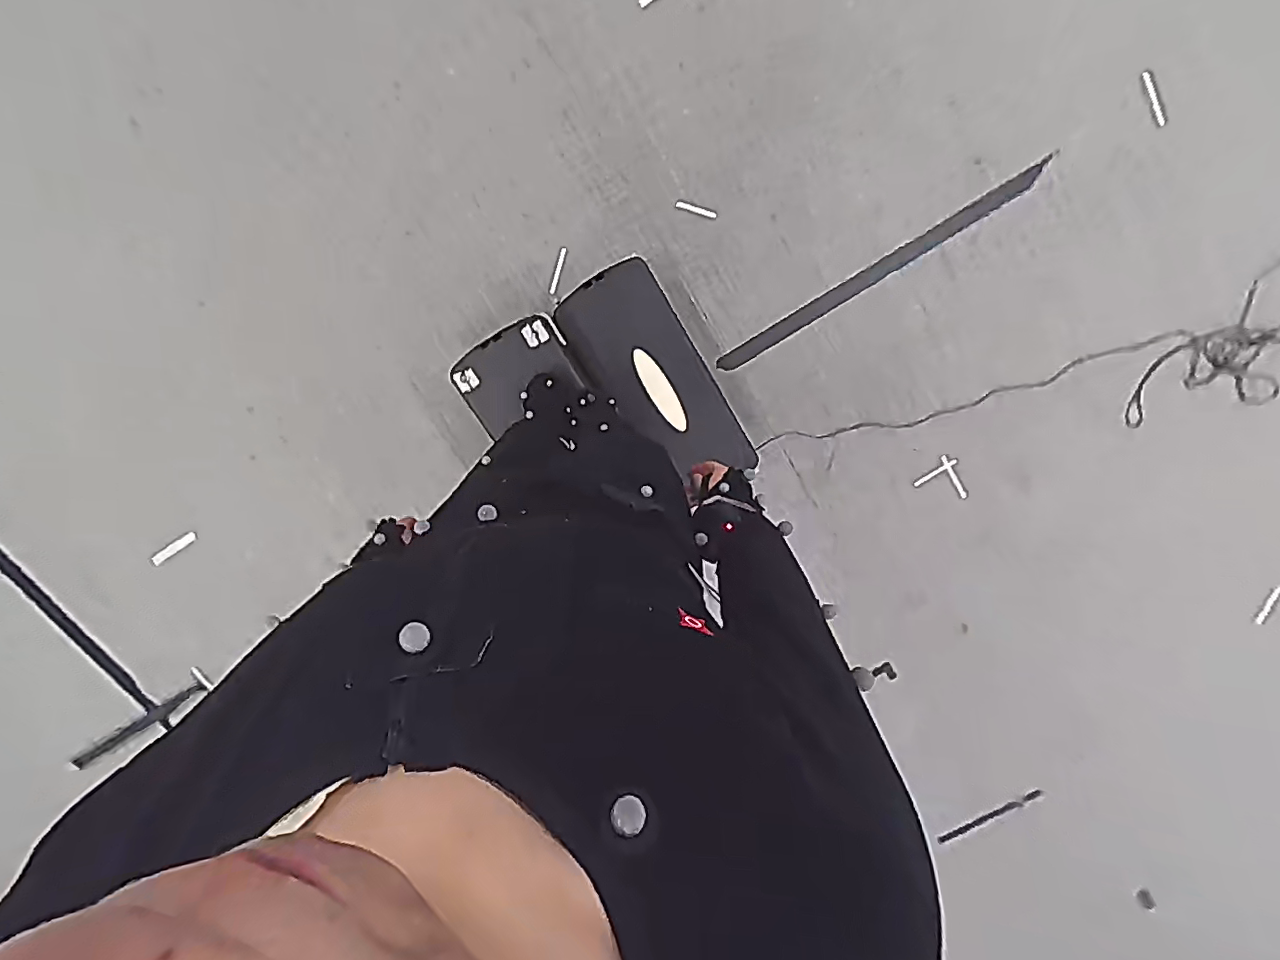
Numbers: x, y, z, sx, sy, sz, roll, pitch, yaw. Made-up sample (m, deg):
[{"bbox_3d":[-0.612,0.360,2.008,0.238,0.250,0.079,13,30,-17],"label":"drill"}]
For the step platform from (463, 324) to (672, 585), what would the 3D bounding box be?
[{"bbox_3d":[-0.179,-0.061,1.447,0.286,0.204,0.684,-28,100,3],"label":"step platform"}]
